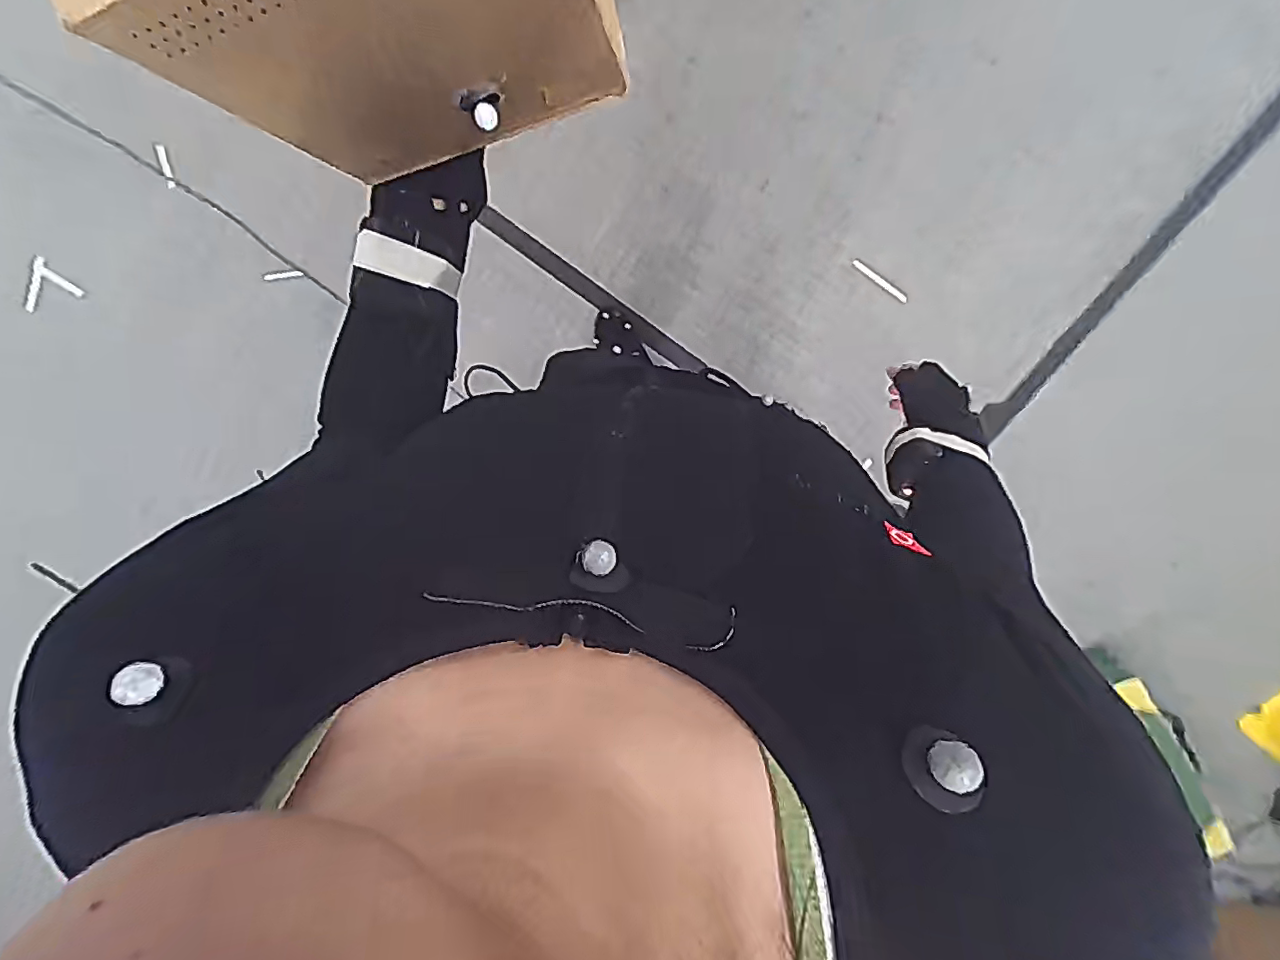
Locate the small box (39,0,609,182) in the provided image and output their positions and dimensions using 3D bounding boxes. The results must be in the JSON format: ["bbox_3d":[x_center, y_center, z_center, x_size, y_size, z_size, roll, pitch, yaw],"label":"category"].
[{"bbox_3d":[-0.133,-0.266,0.234,0.179,0.176,0.168,-12,98,12],"label":"small box"}]
